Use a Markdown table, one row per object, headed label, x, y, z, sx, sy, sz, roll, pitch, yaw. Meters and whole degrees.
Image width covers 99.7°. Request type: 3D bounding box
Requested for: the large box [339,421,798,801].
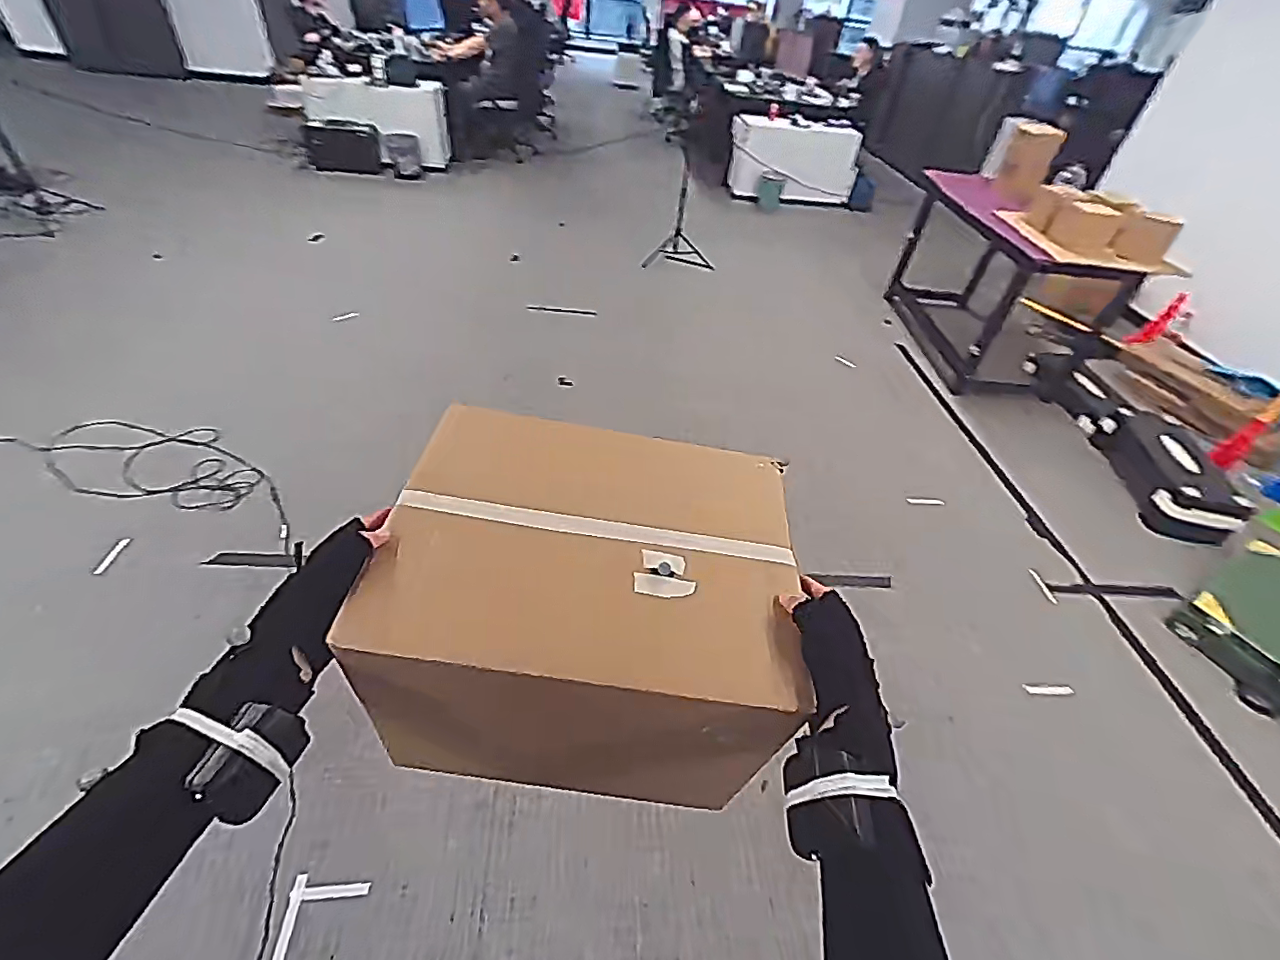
| label | x | y | z | sx | sy | sz | roll | pitch | yaw |
| --- | --- | --- | --- | --- | --- | --- | --- | --- | --- |
| large box | -0.073 | 0.166 | 0.666 | 0.408 | 0.320 | 0.320 | 9 | 46 | -4 |
